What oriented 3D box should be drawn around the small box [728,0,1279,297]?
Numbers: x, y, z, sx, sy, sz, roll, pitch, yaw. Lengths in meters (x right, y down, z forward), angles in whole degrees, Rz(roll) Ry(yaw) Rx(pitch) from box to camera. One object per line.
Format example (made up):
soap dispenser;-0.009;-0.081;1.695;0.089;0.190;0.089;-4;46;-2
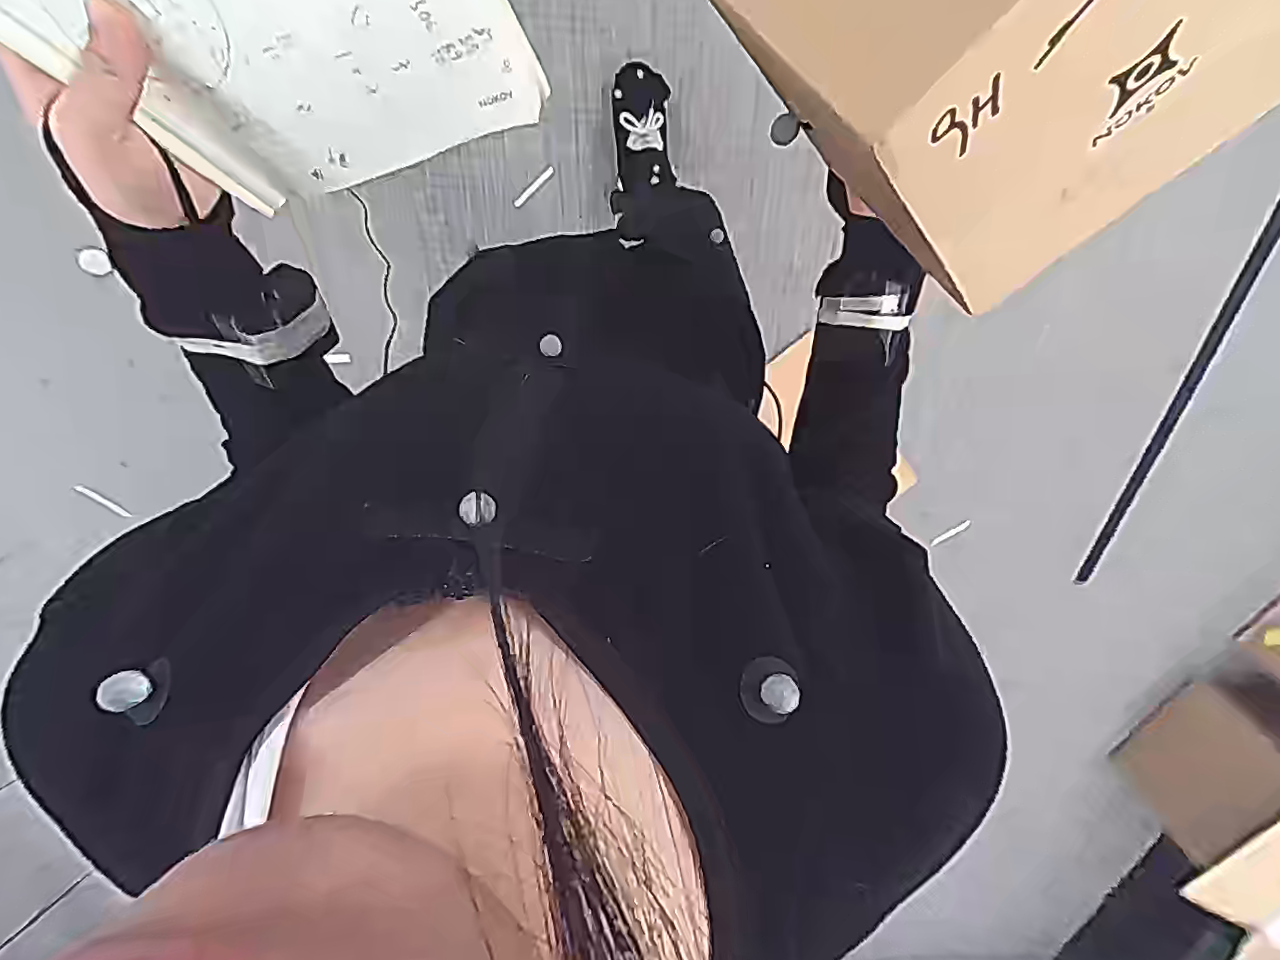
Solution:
small box;0.158;-0.220;0.234;0.179;0.176;0.168;8;140;-48
